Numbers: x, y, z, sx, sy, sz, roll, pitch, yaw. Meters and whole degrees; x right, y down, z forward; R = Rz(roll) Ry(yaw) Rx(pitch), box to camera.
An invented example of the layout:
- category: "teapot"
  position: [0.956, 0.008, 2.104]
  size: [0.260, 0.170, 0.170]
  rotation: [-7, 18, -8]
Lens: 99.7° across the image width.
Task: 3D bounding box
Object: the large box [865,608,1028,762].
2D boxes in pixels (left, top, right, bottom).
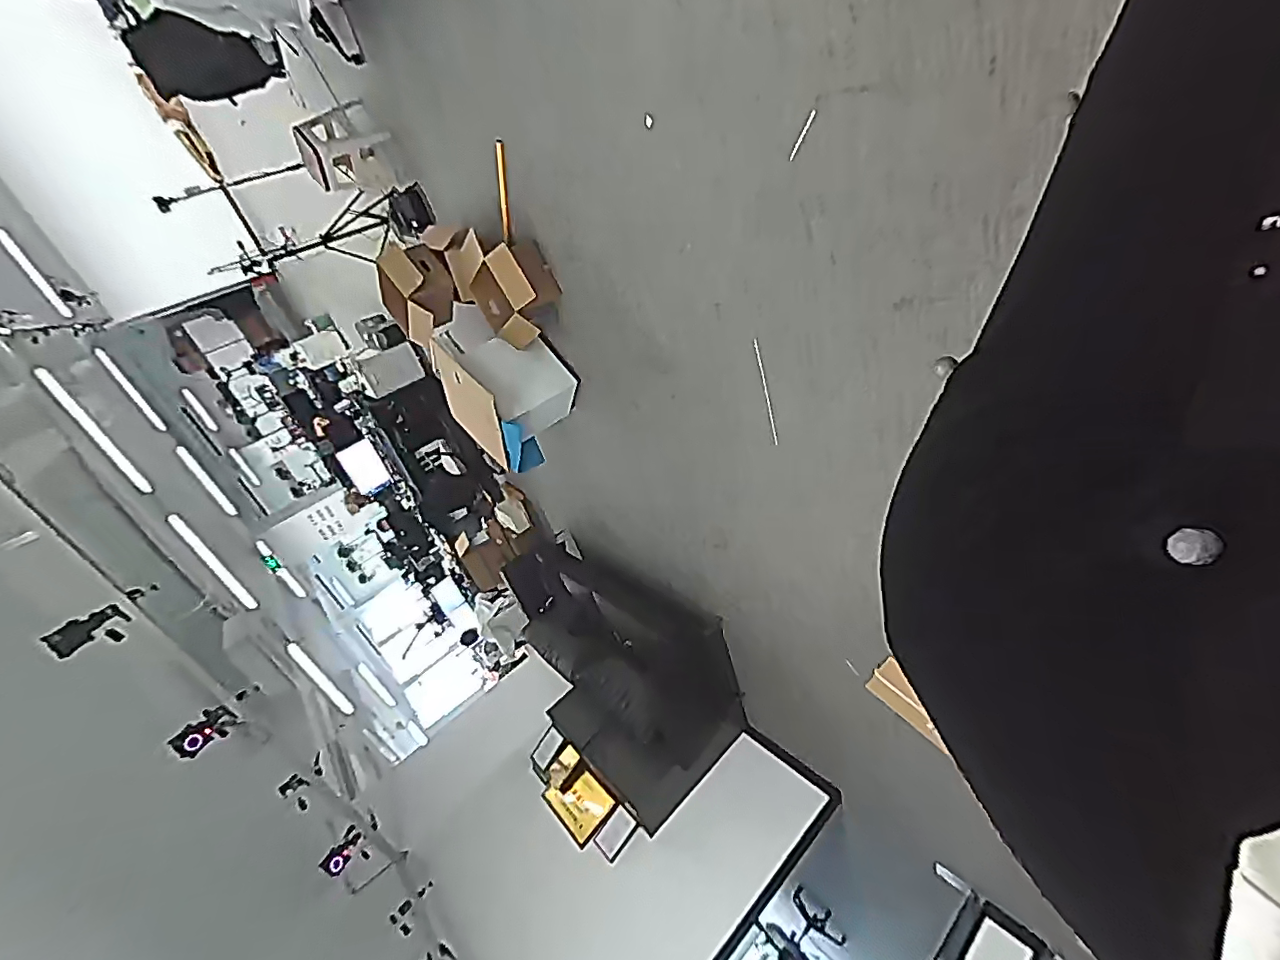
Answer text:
- category: "large box"
  position: [1.166, 0.782, 2.090]
  size: [0.408, 0.320, 0.320]
  rotation: [37, 149, 28]
